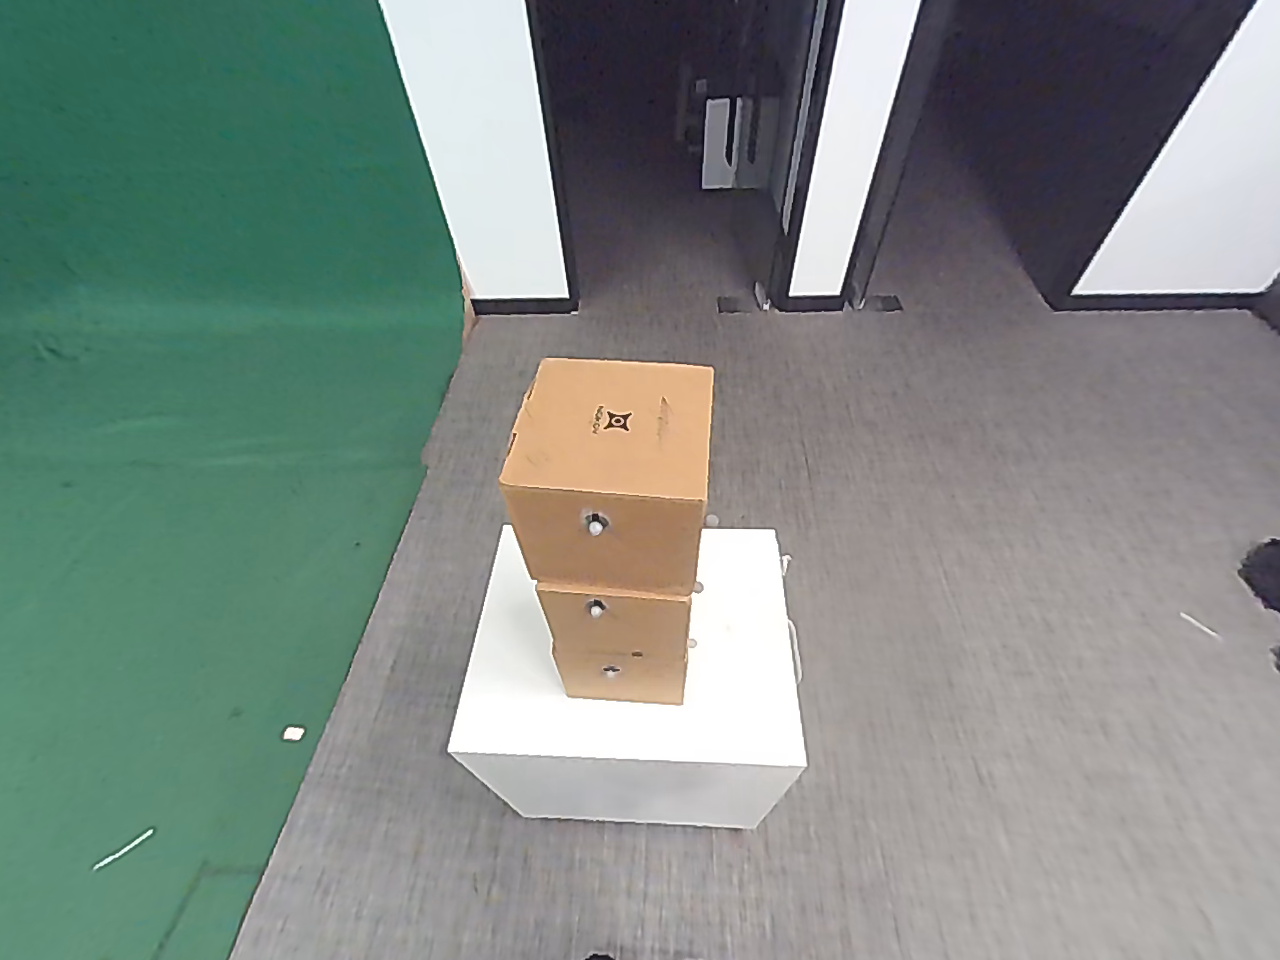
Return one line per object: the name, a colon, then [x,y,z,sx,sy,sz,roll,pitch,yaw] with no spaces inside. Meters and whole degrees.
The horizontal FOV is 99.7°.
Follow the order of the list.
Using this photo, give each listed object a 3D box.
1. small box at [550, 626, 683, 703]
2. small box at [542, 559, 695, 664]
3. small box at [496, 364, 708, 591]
small box: [-0.022,0.218,0.803,0.179,0.176,0.168,3,50,4]
small box: [-0.019,0.111,0.683,0.168,0.176,0.179,2,50,2]
small box: [-0.025,0.001,0.561,0.179,0.176,0.168,4,52,5]
